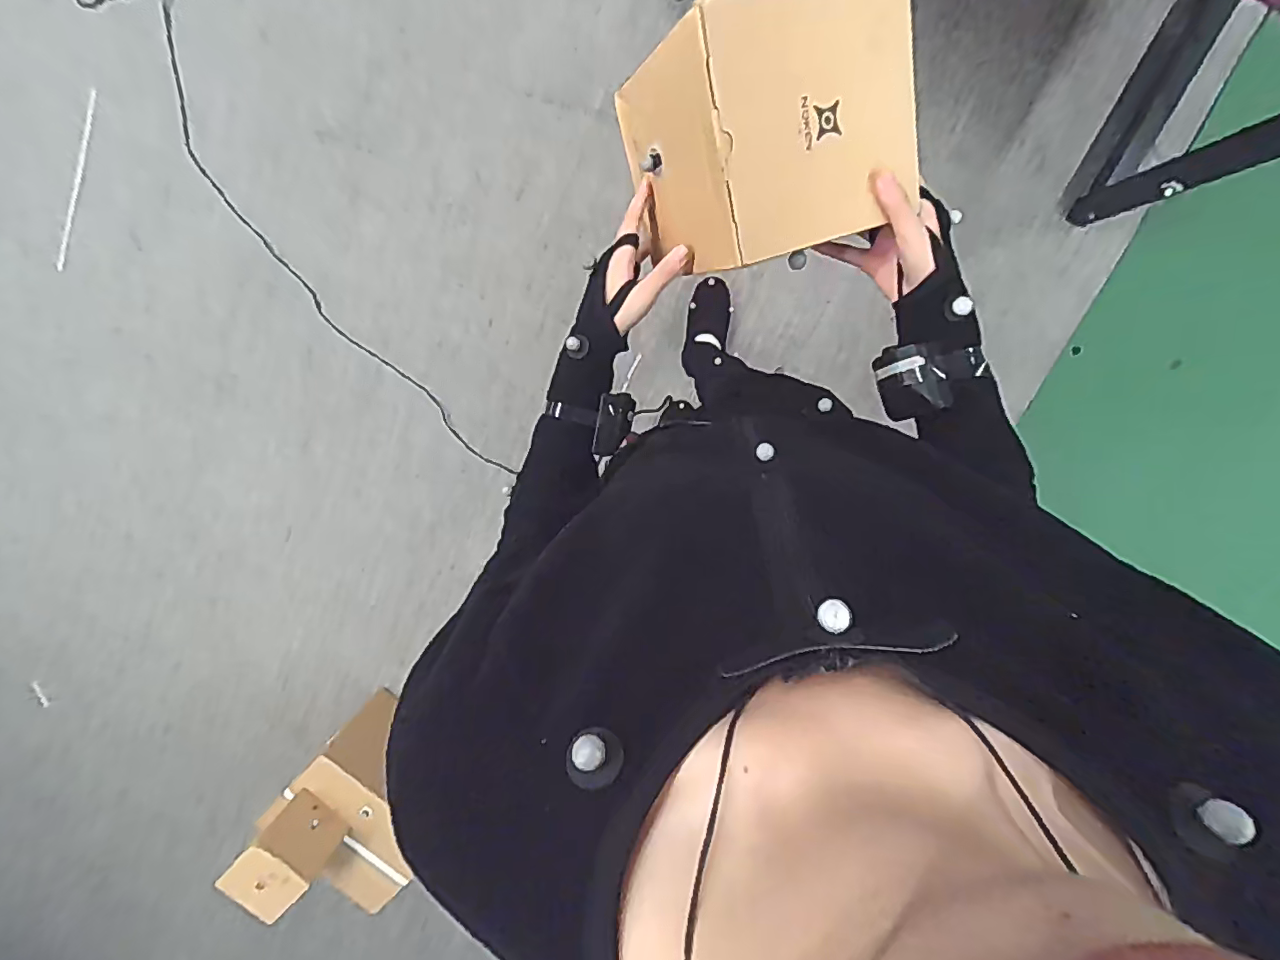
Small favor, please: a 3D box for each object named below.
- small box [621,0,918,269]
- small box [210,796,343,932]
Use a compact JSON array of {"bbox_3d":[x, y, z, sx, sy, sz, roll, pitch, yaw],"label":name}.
[{"bbox_3d":[0.104,-0.289,0.465,0.179,0.176,0.168,-21,113,-14],"label":"small box"},{"bbox_3d":[-0.871,0.925,1.315,0.168,0.176,0.179,44,101,-6],"label":"small box"}]
